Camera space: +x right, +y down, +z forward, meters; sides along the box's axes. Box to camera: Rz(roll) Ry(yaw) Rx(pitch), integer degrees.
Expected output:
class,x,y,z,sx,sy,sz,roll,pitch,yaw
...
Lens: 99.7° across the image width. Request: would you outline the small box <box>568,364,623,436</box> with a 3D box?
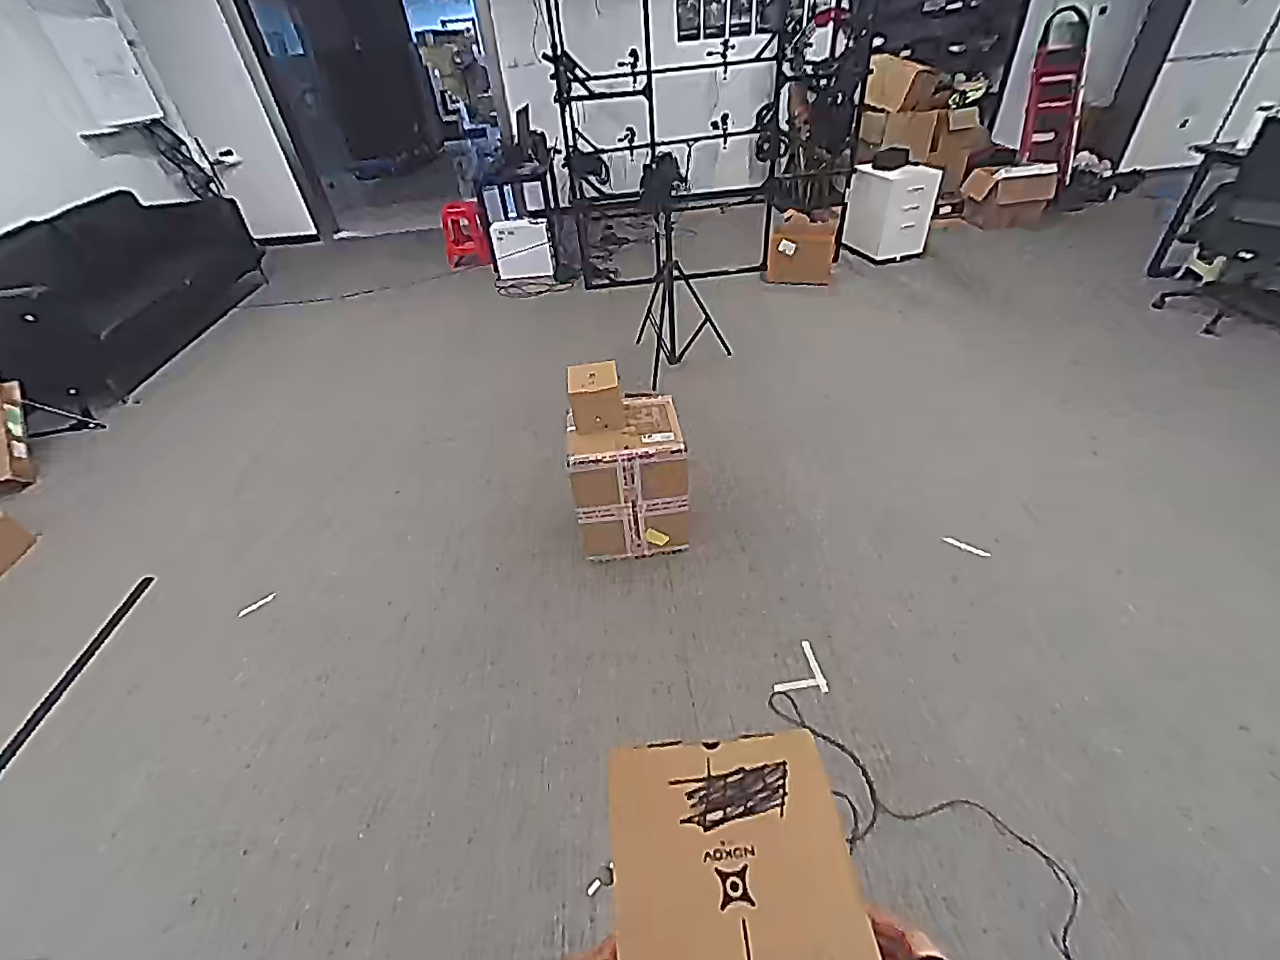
class,x,y,z,sx,sy,sz,roll,pitch,yaw
small box,-0.151,-0.273,1.851,0.168,0.176,0.179,-8,42,-1
